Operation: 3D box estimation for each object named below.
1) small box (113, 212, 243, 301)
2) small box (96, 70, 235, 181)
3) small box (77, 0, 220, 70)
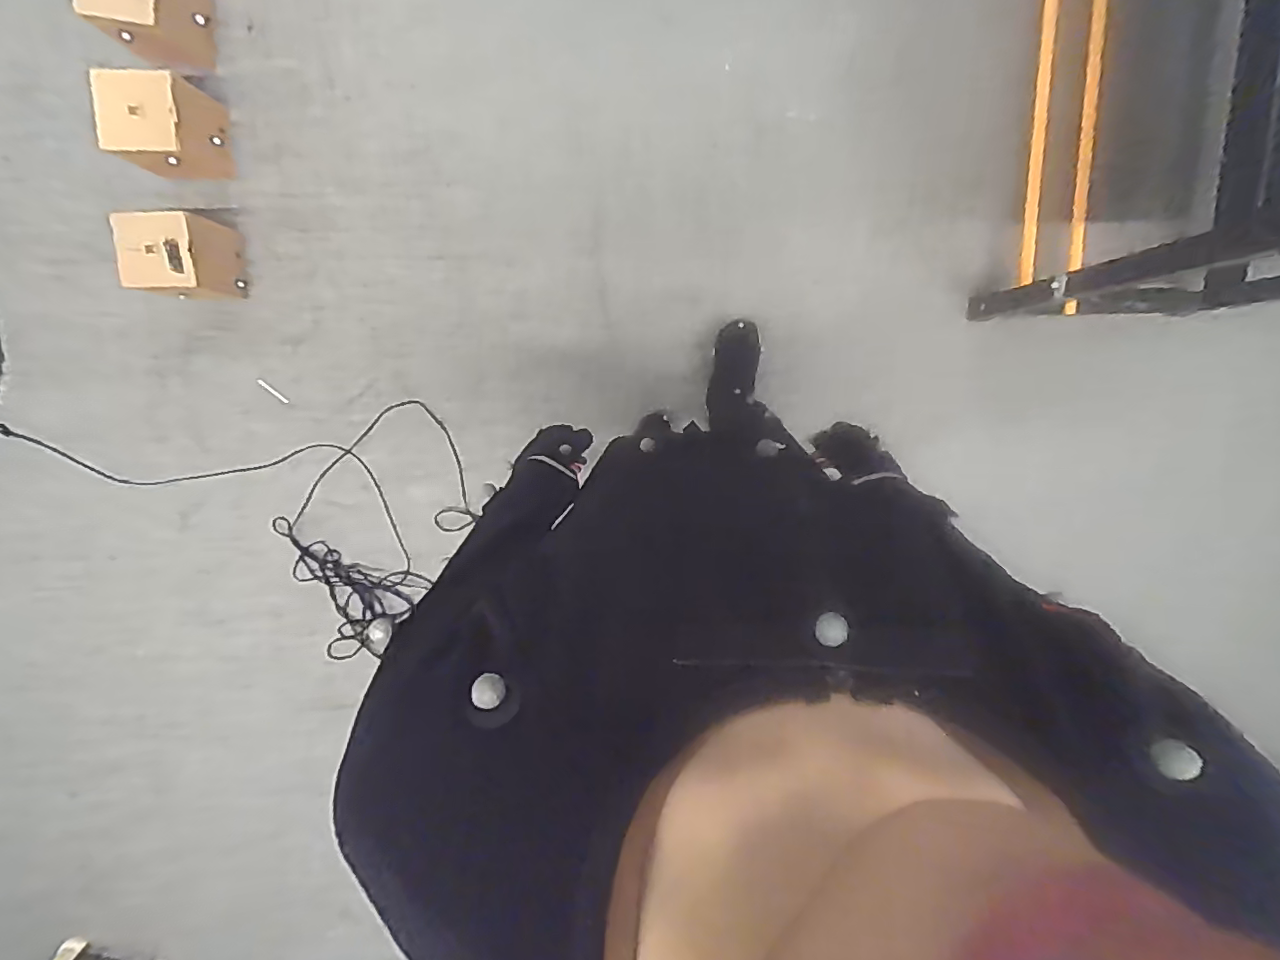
[{"bbox_3d":[-1.101,-0.534,1.307,0.179,0.176,0.168,0,98,0],"label":"small box"},{"bbox_3d":[-1.102,-0.821,1.267,0.179,0.176,0.168,1,98,-1],"label":"small box"},{"bbox_3d":[-1.108,-1.076,1.228,0.179,0.176,0.168,8,99,-2],"label":"small box"}]
